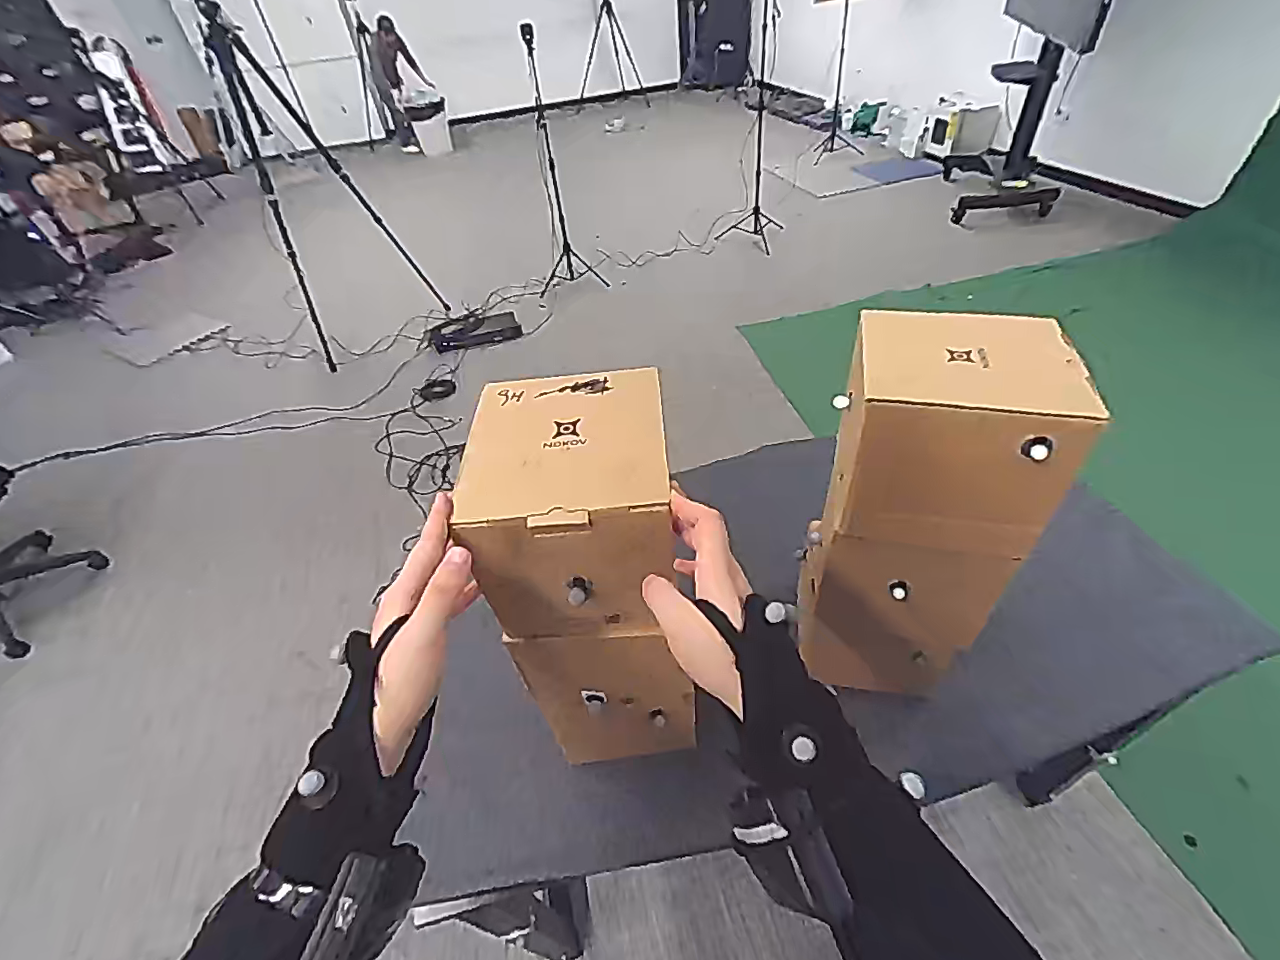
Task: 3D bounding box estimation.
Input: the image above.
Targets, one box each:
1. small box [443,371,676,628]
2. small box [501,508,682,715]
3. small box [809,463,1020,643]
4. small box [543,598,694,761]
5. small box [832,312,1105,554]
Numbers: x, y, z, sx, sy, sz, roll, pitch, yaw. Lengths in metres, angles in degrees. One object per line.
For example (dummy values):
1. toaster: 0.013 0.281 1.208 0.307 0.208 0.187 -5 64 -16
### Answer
1. small box: -0.057 0.025 0.501 0.168 0.176 0.179 -5 47 3
2. small box: -0.041 0.144 0.613 0.168 0.176 0.179 -5 45 4
3. small box: 0.307 0.070 0.639 0.179 0.176 0.168 9 45 16
4. small box: -0.025 0.257 0.730 0.179 0.176 0.168 -8 43 0
5. small box: 0.289 -0.047 0.528 0.179 0.176 0.168 7 44 14
